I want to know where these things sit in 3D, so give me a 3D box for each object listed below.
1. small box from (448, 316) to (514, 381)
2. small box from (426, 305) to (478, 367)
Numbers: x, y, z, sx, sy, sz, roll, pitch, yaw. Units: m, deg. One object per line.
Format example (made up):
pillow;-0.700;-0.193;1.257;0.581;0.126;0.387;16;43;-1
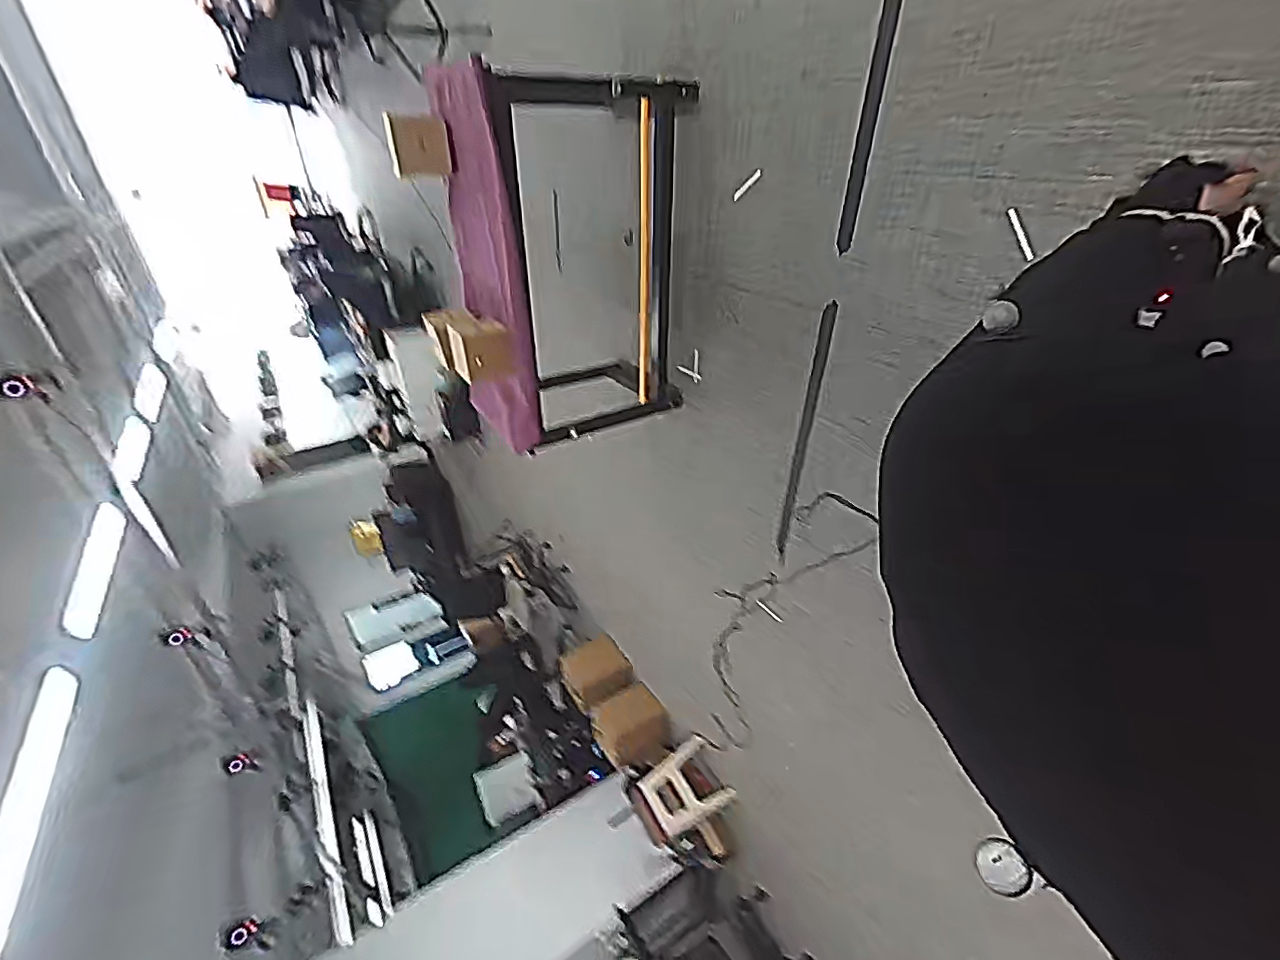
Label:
small box;-0.566;-0.479;1.942;0.168;0.176;0.179;38;139;46
small box;-0.727;-0.579;2.143;0.176;0.168;0.179;44;150;43
